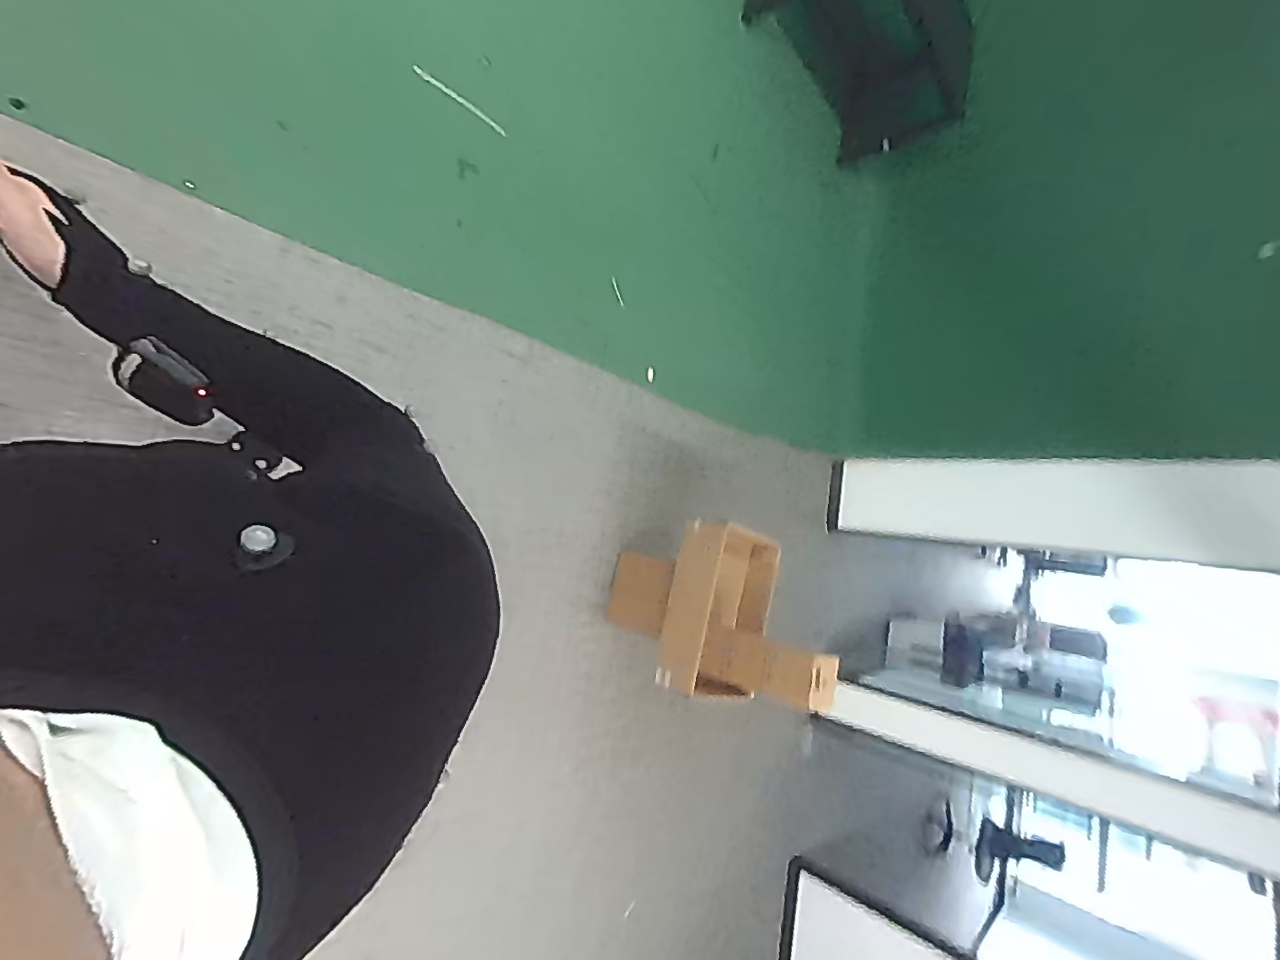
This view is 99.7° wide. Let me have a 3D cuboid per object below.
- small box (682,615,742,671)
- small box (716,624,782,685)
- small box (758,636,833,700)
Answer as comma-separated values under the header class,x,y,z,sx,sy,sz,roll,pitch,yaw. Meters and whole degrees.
class,x,y,z,sx,sy,sz,roll,pitch,yaw
small box,0.282,0.605,2.010,0.179,0.176,0.168,21,77,-45
small box,0.394,0.609,1.892,0.179,0.176,0.168,21,77,-43
small box,0.508,0.613,1.773,0.179,0.176,0.168,20,77,-45
